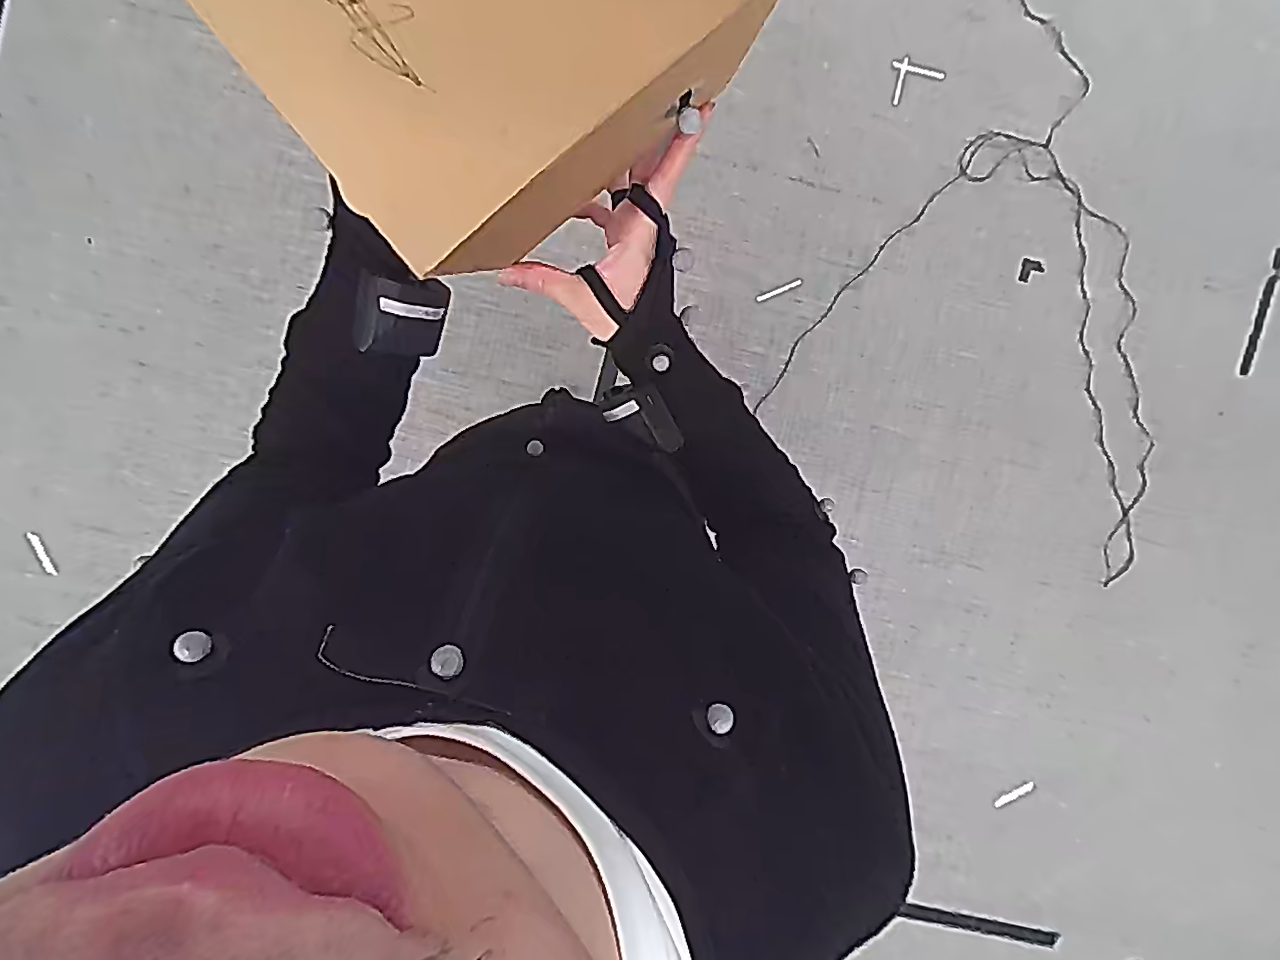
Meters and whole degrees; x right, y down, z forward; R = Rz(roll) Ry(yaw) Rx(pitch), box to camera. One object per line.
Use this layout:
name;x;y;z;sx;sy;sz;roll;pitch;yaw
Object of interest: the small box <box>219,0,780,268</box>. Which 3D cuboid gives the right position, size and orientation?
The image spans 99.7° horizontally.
small box;-0.063;-0.224;0.252;0.179;0.176;0.168;-34;109;12
